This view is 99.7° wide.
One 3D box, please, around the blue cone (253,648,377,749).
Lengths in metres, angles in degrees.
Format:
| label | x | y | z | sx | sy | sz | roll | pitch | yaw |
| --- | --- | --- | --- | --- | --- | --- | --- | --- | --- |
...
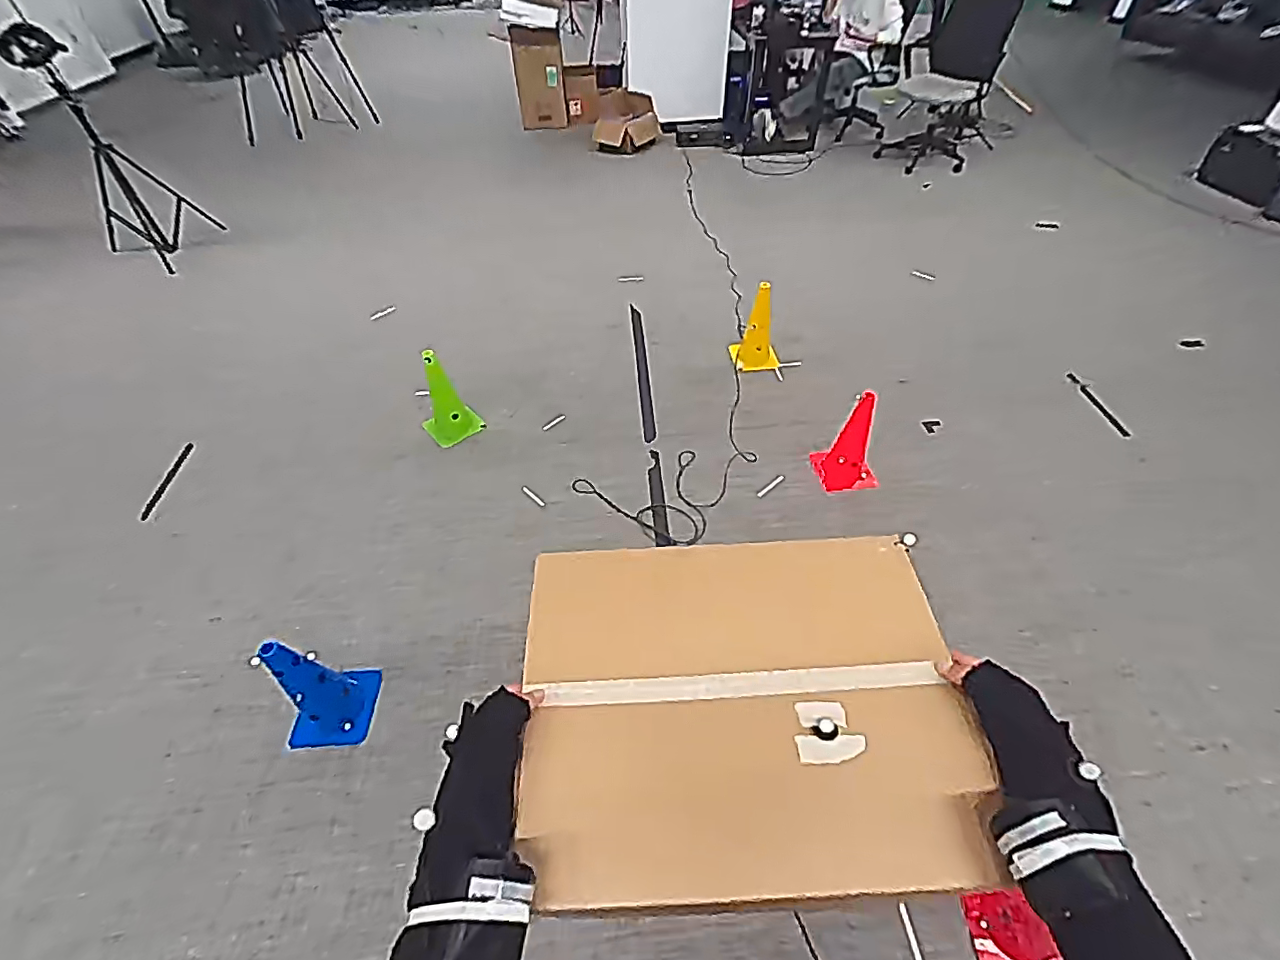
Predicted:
| label | x | y | z | sx | sy | sz | roll | pitch | yaw |
| --- | --- | --- | --- | --- | --- | --- | --- | --- | --- |
| blue cone | -0.827 | 0.512 | 1.341 | 0.192 | 0.380 | 0.193 | -3 | 48 | 1 |

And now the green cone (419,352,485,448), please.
| label | x | y | z | sx | sy | sz | roll | pitch | yaw |
| --- | --- | --- | --- | --- | --- | --- | --- | --- | --- |
| green cone | -0.769 | -0.337 | 2.087 | 0.202 | 0.368 | 0.200 | -36 | 55 | -25 |

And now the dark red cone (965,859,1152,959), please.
| label | x | y | z | sx | sy | sz | roll | pitch | yaw |
| --- | --- | --- | --- | --- | --- | --- | --- | --- | --- |
| dark red cone | 0.781 | 0.786 | 0.983 | 0.201 | 0.394 | 0.202 | -1 | 48 | 3 |

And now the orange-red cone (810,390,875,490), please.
| label | x | y | z | sx | sy | sz | roll | pitch | yaw |
| --- | --- | --- | --- | --- | --- | --- | --- | --- | --- |
| orange-red cone | 0.743 | -0.159 | 1.876 | 0.198 | 0.360 | 0.199 | -6 | 46 | -5 |

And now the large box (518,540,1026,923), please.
| label | x | y | z | sx | sy | sz | roll | pitch | yaw |
| --- | --- | --- | --- | --- | --- | --- | --- | --- | --- |
| large box | 0.097 | 0.291 | 0.621 | 0.408 | 0.320 | 0.320 | -3 | 50 | -1 |
